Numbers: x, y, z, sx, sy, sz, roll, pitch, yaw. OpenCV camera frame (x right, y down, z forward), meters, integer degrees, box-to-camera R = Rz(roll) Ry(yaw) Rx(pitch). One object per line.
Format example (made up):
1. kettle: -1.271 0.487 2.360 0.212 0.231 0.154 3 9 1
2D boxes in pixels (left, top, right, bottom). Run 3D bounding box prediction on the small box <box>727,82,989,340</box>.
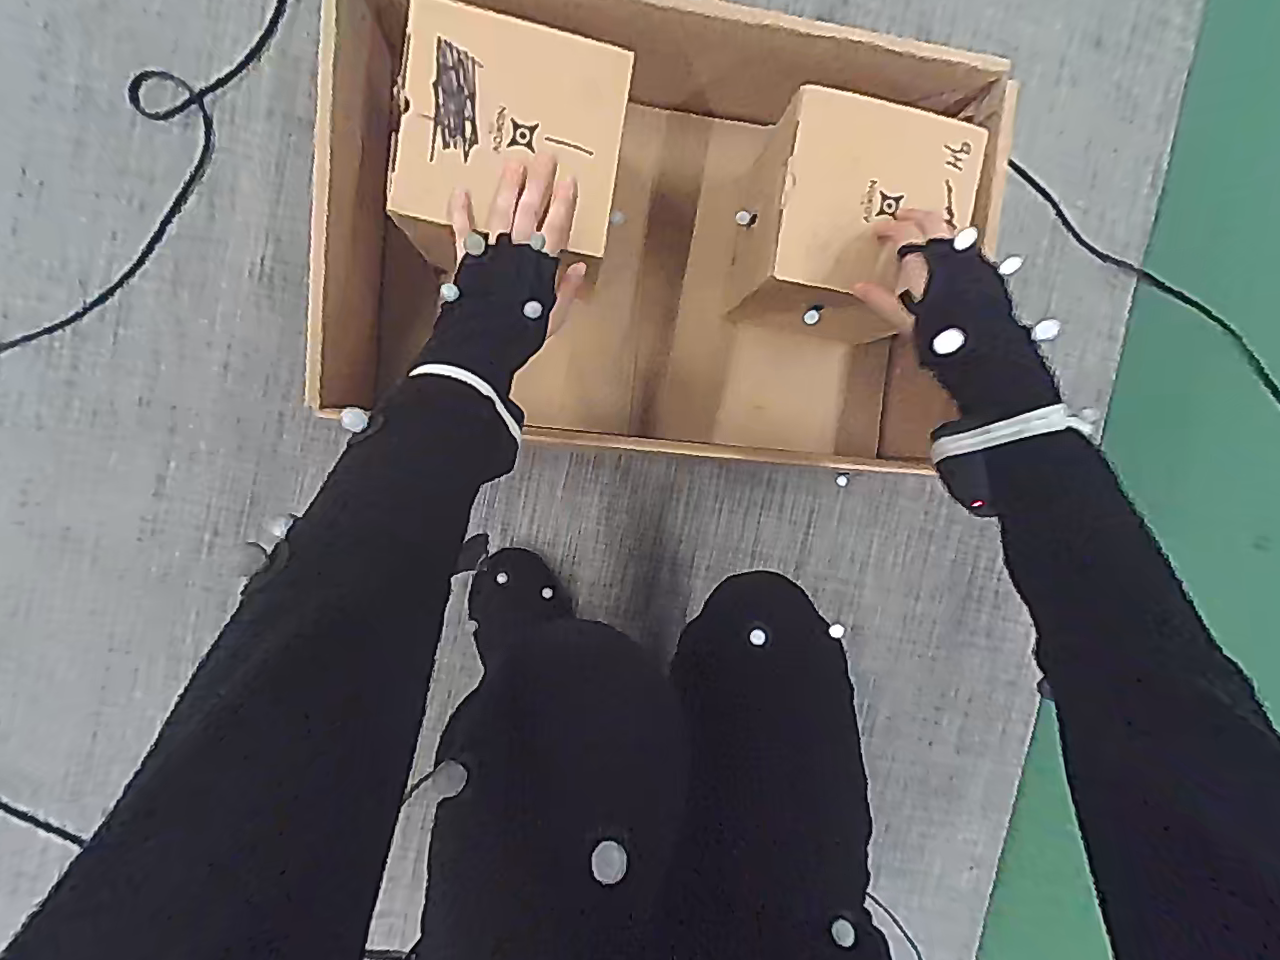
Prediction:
1. small box: 0.200 -0.249 0.549 0.179 0.176 0.168 10 94 -7
